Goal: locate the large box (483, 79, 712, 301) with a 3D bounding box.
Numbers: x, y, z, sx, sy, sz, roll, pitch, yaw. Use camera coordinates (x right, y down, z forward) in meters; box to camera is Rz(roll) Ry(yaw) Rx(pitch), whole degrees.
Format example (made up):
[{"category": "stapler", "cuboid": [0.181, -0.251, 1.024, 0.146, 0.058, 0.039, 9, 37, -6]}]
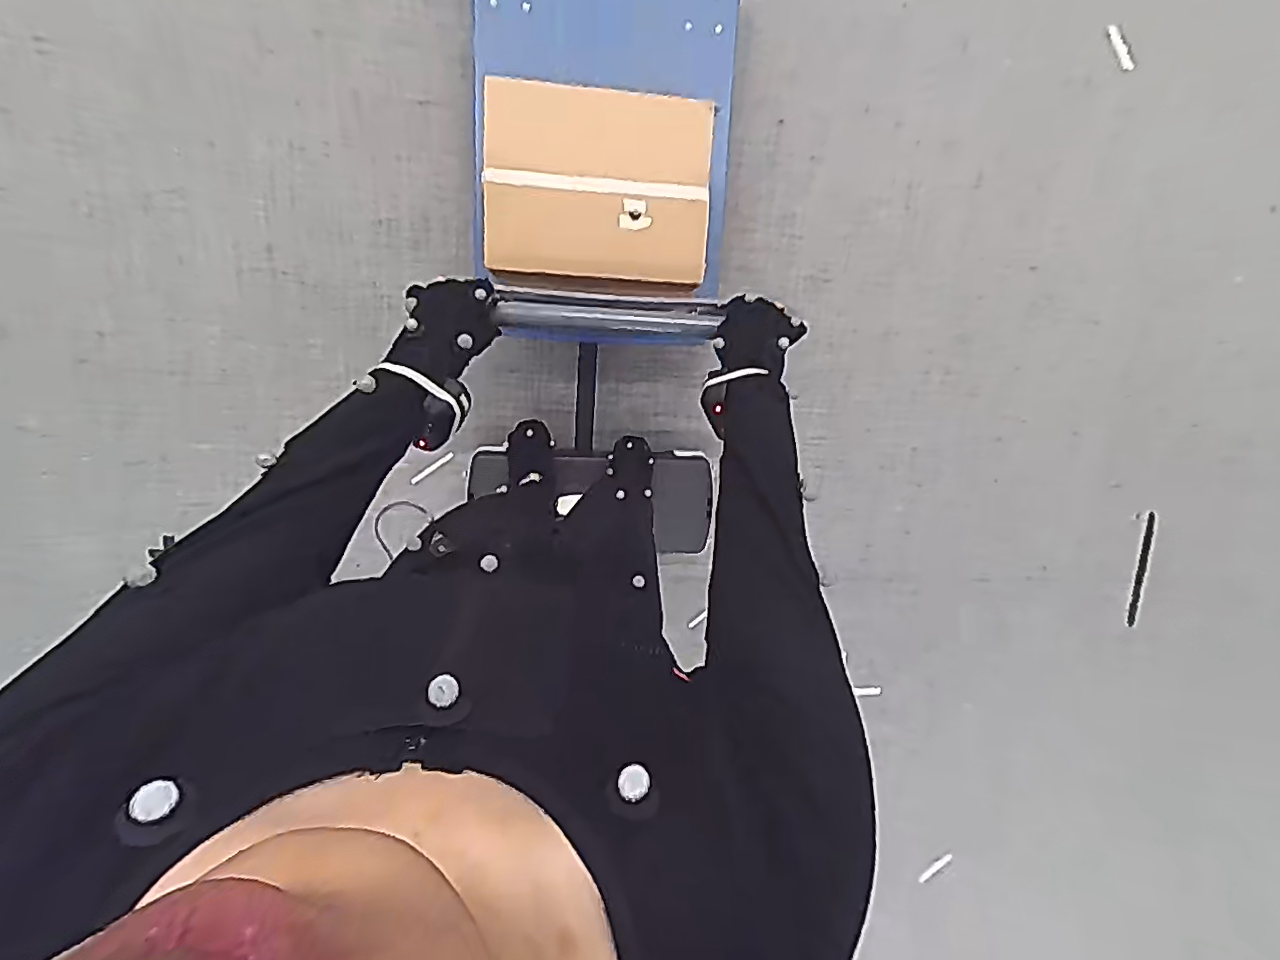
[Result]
[{"category": "large box", "cuboid": [-0.092, -0.554, 1.108, 0.408, 0.320, 0.320, 1, 102, -7]}]
